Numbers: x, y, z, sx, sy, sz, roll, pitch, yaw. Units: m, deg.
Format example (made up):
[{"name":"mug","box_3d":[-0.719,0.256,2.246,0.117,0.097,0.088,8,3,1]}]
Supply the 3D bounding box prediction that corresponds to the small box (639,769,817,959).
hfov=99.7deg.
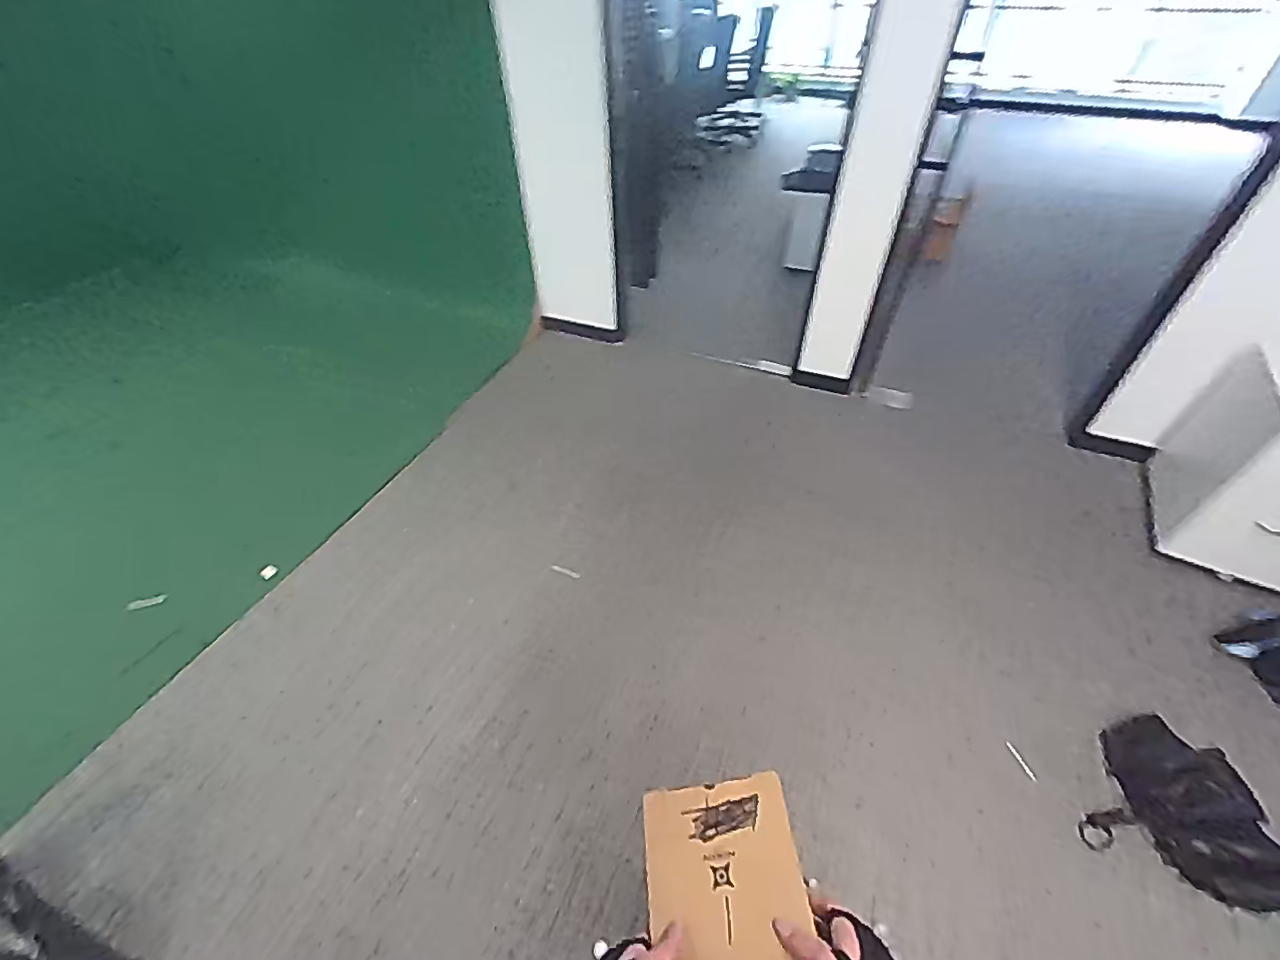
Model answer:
[{"name":"small box","box_3d":[0.101,0.476,0.636,0.168,0.176,0.179,-14,38,5]}]
